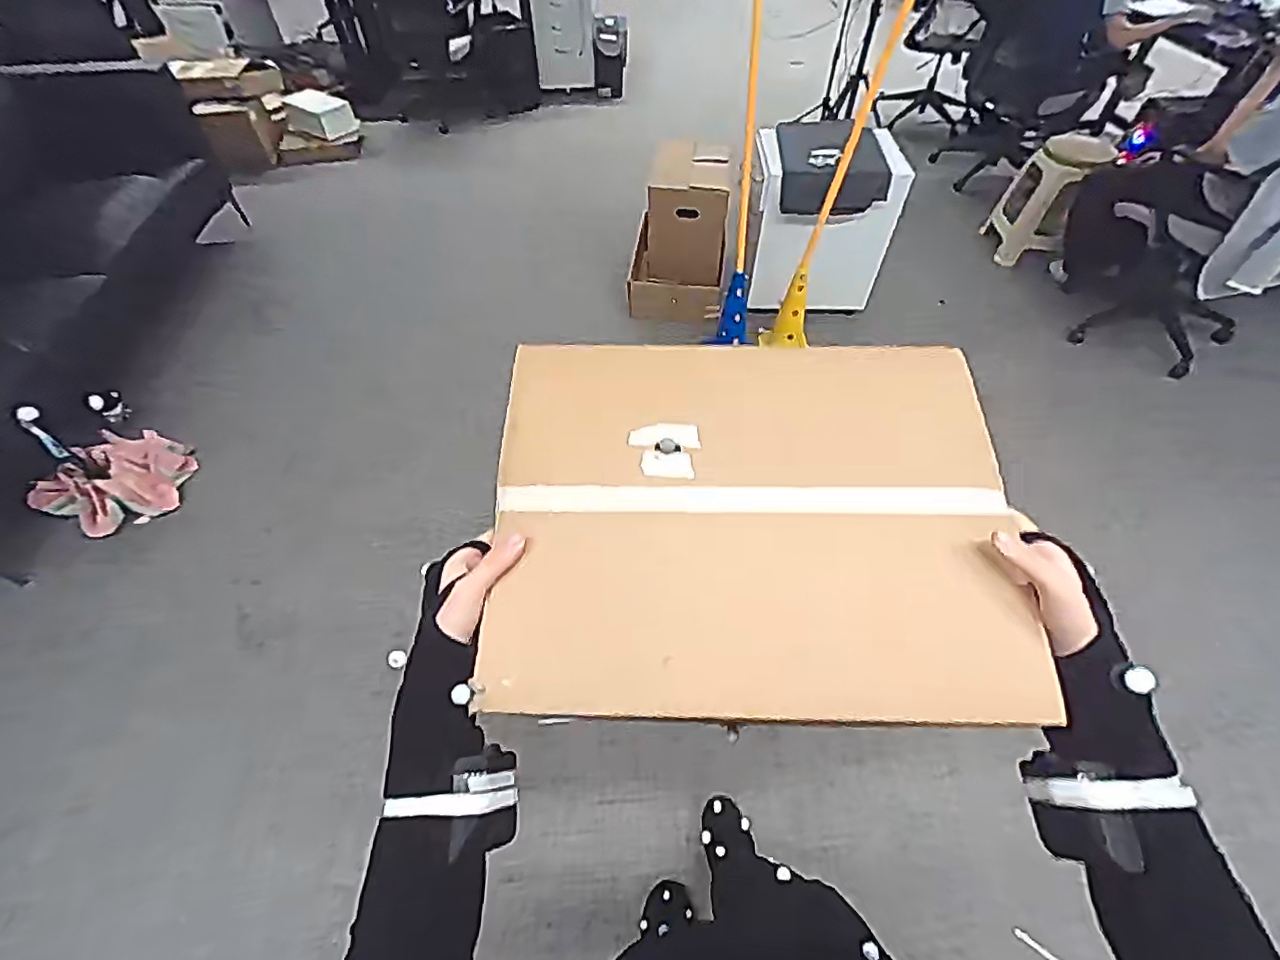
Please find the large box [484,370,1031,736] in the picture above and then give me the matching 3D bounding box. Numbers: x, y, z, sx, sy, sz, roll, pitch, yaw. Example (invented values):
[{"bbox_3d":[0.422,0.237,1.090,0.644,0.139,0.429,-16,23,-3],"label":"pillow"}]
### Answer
[{"bbox_3d":[0.090,0.098,0.585,0.408,0.320,0.320,1,65,2],"label":"large box"}]
